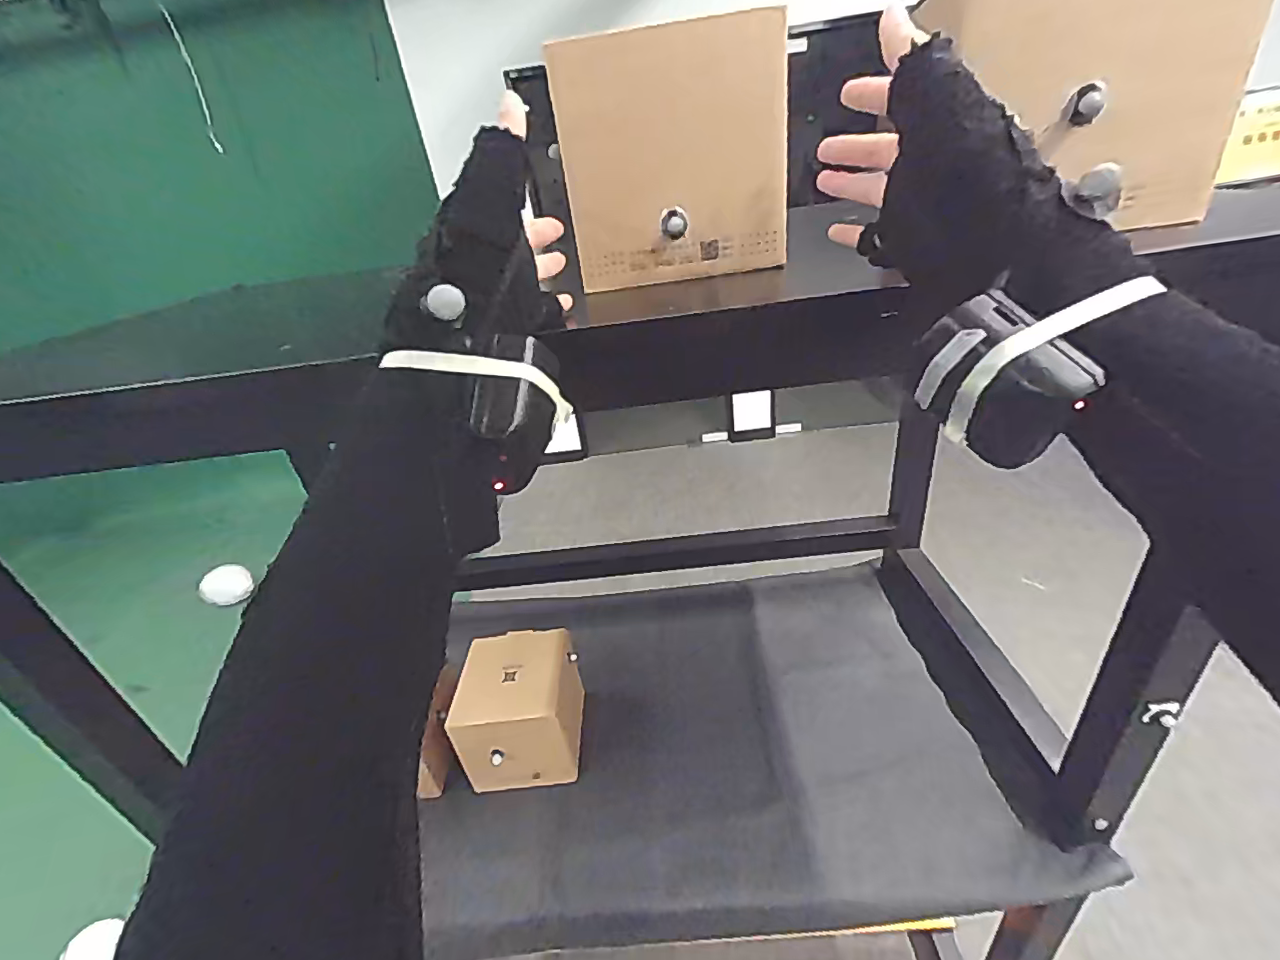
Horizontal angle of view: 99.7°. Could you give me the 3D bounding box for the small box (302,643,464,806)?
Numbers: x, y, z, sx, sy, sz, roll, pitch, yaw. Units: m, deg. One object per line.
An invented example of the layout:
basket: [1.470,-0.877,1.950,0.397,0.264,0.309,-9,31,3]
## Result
small box: [-0.408,0.401,0.897,0.168,0.176,0.179,-8,29,2]

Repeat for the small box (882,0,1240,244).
small box: [0.291,-0.283,0.410,0.168,0.176,0.179,-2,29,13]
